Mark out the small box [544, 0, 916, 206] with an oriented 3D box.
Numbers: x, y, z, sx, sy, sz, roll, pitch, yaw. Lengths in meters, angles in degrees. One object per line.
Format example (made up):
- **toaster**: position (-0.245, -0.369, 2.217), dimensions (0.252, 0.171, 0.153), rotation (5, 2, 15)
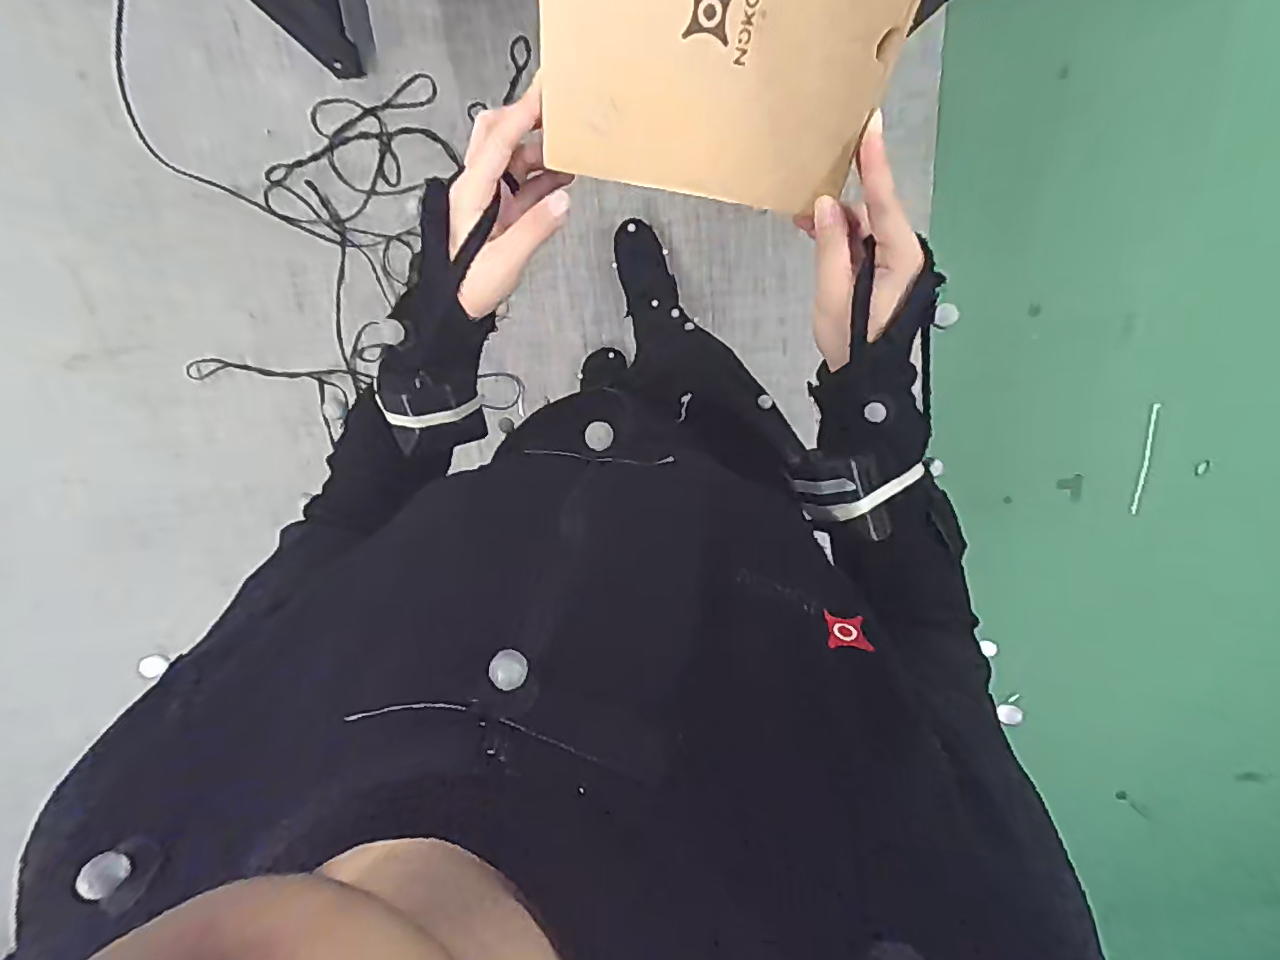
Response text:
- **small box**: position (0.051, -0.287, 0.307), dimensions (0.179, 0.176, 0.168), rotation (10, 140, 0)
